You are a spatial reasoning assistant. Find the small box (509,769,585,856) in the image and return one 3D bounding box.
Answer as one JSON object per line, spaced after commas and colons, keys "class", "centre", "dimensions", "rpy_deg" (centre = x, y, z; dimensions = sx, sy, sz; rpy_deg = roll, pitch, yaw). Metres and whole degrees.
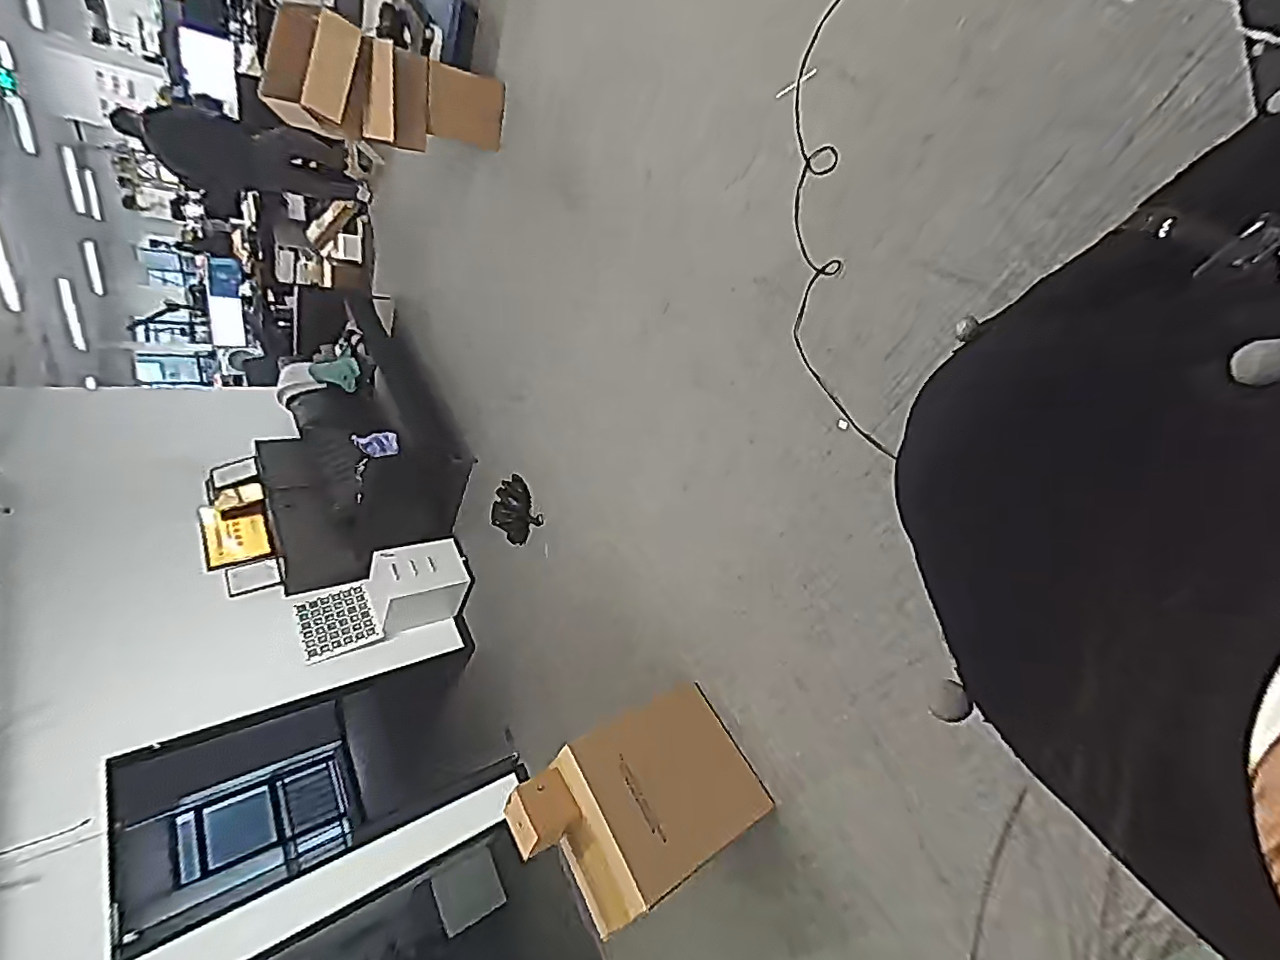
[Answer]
{"class": "small box", "centre": [-0.317, 1.118, 1.837], "dimensions": [0.179, 0.176, 0.168], "rpy_deg": [46, 126, 35]}
